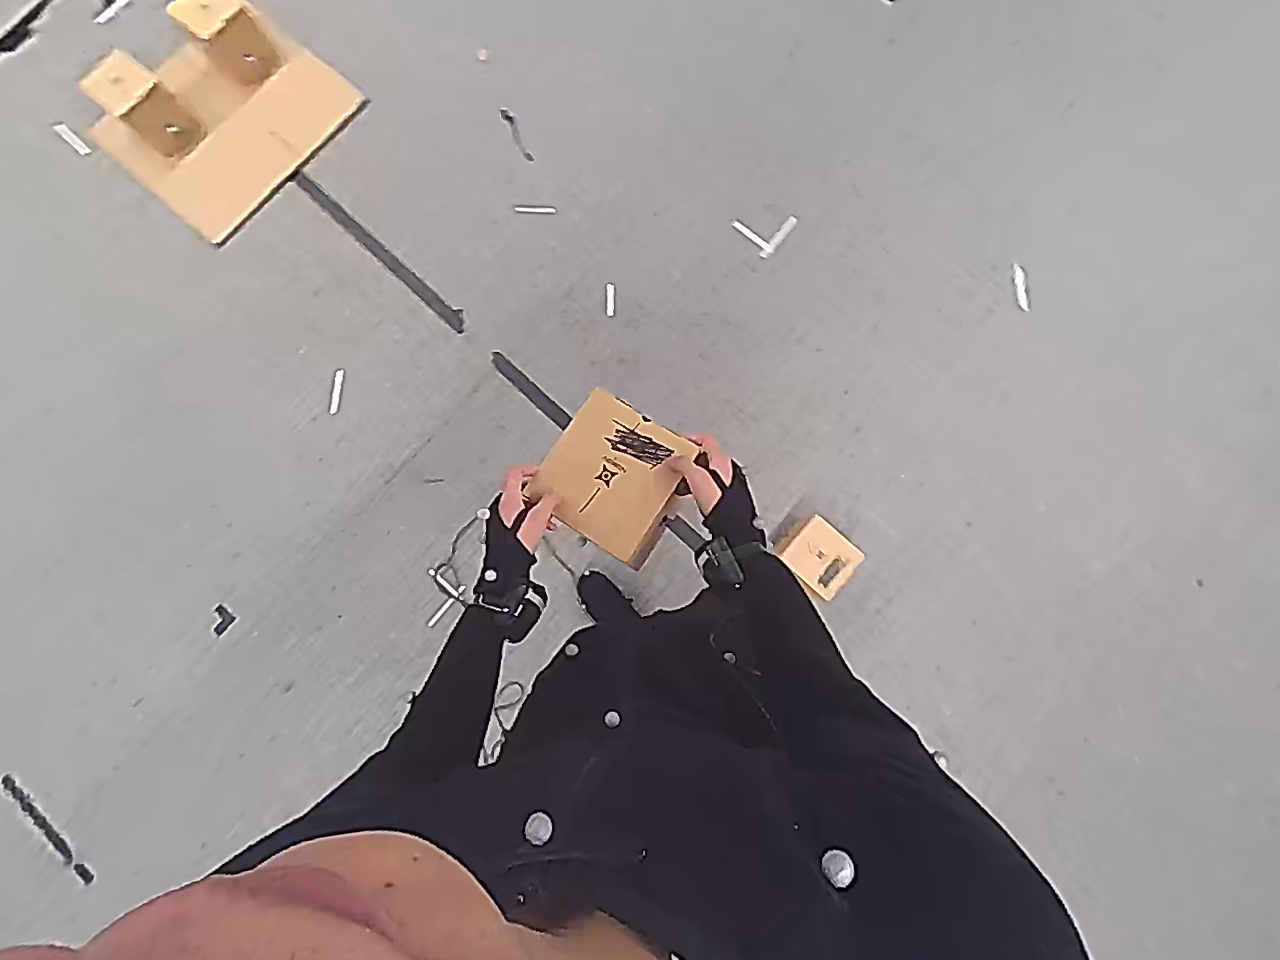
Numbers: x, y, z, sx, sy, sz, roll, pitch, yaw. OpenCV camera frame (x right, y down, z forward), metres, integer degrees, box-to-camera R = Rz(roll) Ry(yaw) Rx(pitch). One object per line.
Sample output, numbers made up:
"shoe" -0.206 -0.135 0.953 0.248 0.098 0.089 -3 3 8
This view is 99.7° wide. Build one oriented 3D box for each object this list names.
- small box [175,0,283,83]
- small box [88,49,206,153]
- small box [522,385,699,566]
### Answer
"small box" -1.315 -1.438 1.741 0.179 0.176 0.168 37 84 5
"small box" -1.542 -1.183 1.703 0.179 0.176 0.168 40 86 5
"small box" -0.032 0.003 0.761 0.168 0.176 0.179 31 82 12
